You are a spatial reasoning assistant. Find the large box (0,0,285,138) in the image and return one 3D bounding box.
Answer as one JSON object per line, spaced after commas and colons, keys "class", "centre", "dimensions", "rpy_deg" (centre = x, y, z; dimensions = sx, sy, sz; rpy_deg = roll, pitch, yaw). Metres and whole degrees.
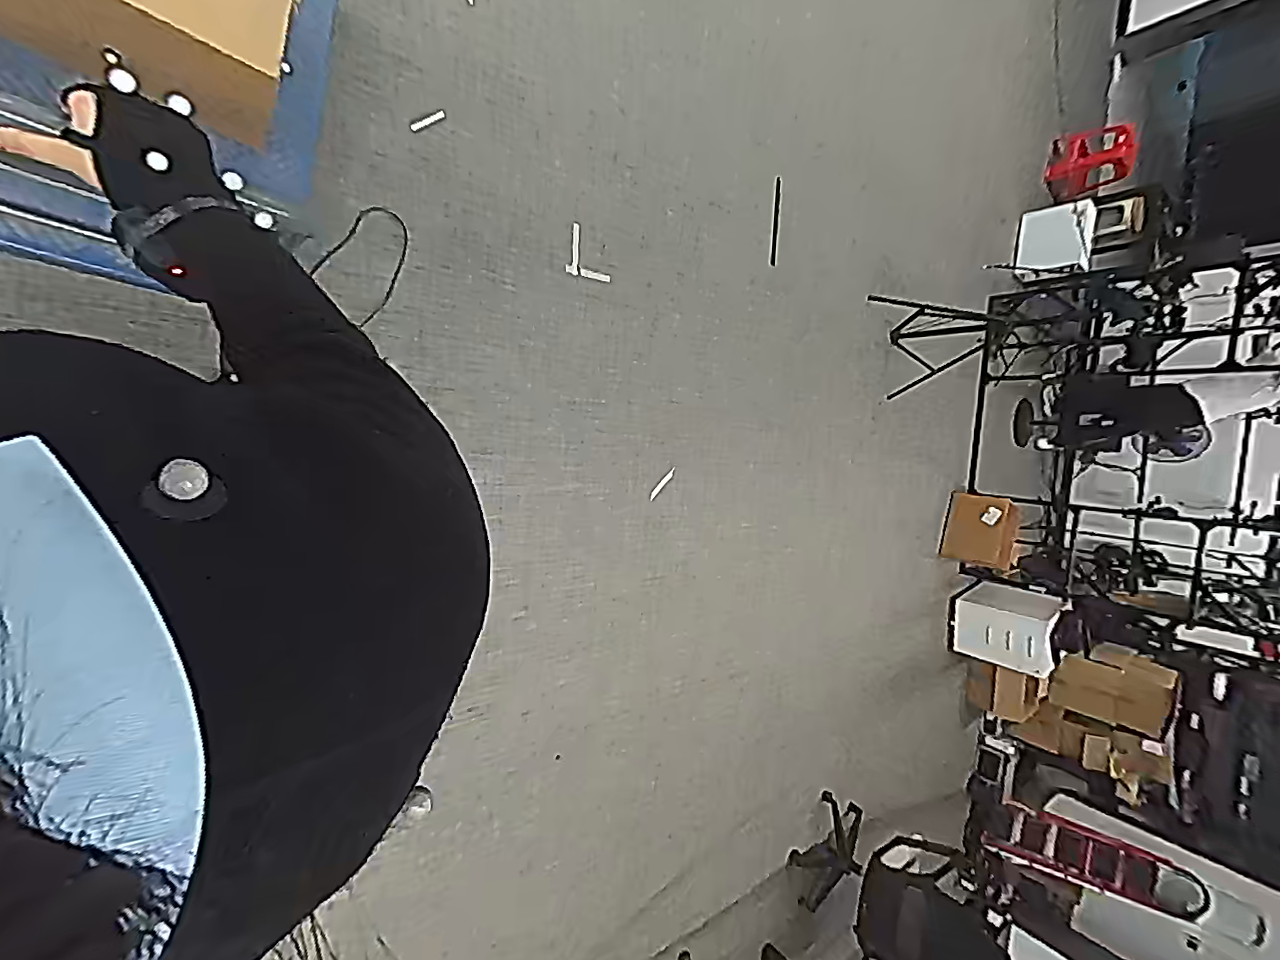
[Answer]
{"class": "large box", "centre": [-0.787, -0.821, 0.824], "dimensions": [0.408, 0.320, 0.320], "rpy_deg": [9, 89, -39]}
